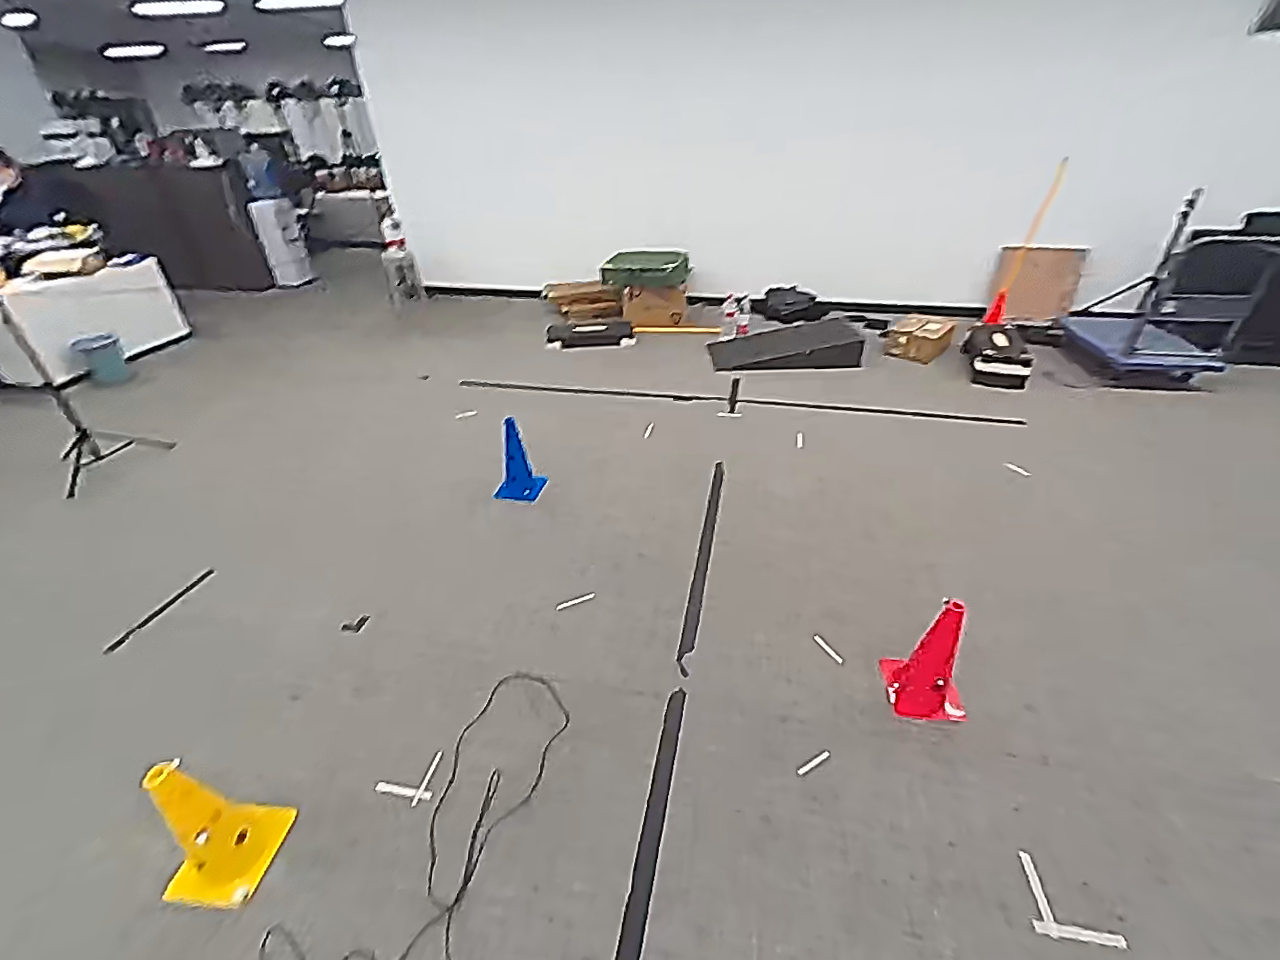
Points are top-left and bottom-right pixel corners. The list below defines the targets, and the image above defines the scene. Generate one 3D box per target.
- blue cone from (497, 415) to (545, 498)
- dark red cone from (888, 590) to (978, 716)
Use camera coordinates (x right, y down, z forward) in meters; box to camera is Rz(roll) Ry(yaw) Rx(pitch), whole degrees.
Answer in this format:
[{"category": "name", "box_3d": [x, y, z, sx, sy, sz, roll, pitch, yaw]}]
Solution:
[{"category": "blue cone", "box_3d": [-0.551, -0.113, 2.402, 0.192, 0.380, 0.193, 6, 34, 12]}, {"category": "dark red cone", "box_3d": [0.835, 0.450, 1.474, 0.201, 0.394, 0.202, 1, 34, 5]}]
